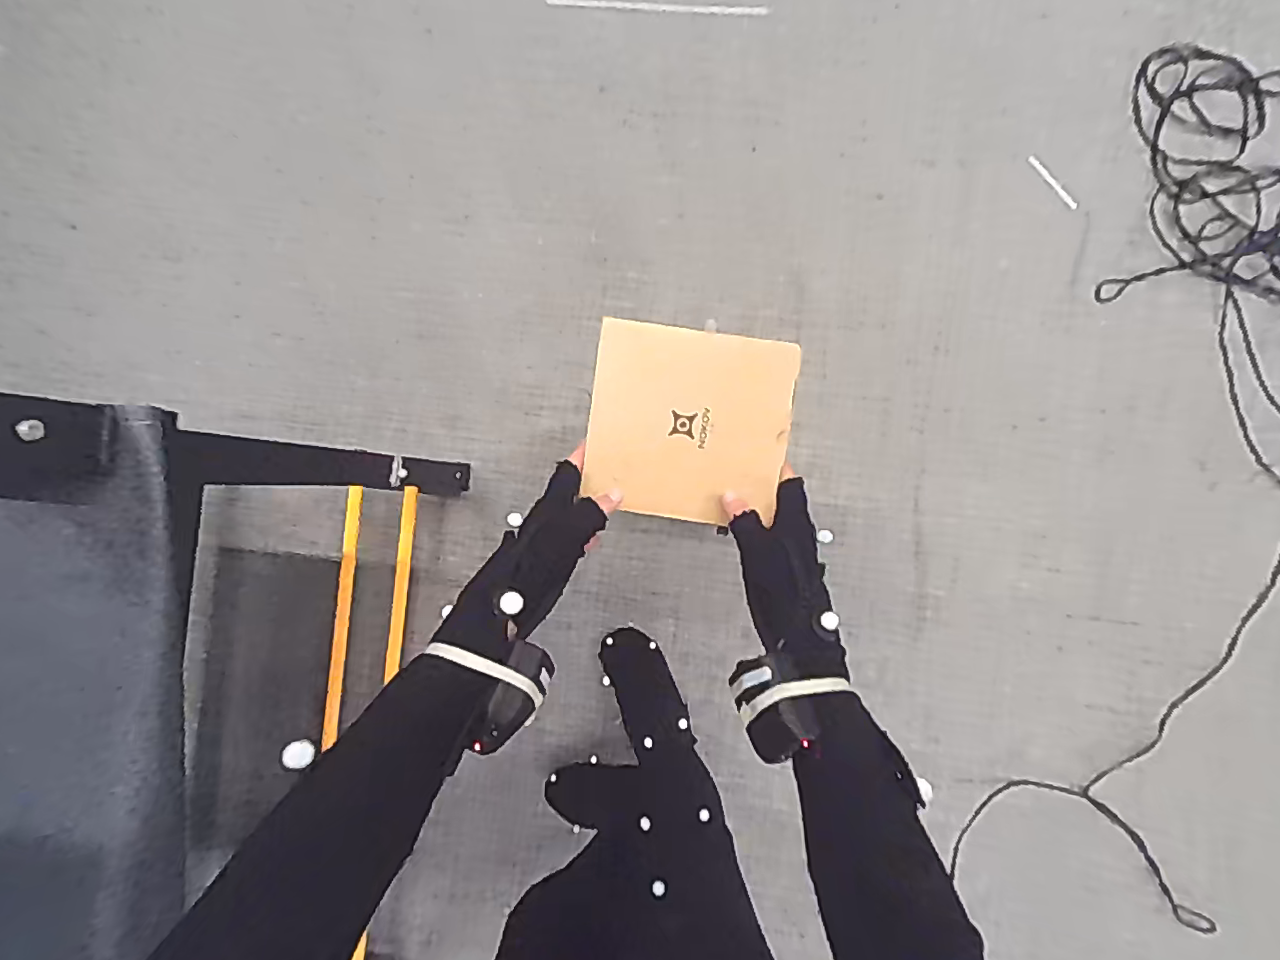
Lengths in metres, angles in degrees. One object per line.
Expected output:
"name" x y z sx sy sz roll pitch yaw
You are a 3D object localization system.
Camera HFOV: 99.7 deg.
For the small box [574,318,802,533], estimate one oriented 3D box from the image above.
"small box" 0.043 -0.053 0.542 0.179 0.176 0.168 8 96 2
